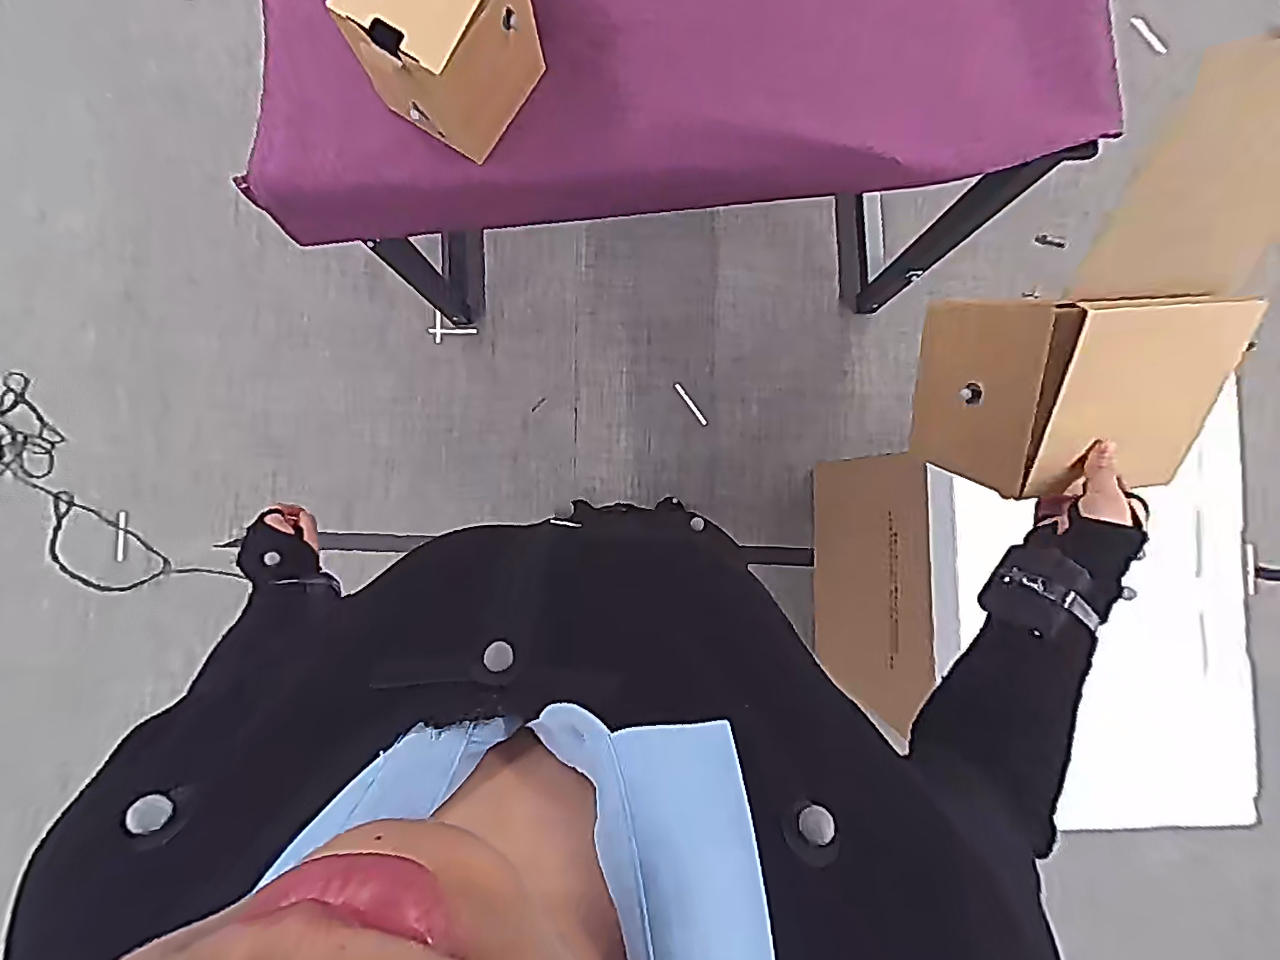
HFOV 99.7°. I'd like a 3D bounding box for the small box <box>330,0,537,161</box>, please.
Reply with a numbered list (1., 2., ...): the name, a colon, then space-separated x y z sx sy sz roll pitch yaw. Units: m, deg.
1. small box: -0.253 -0.580 0.717 0.168 0.176 0.179 33 88 2
